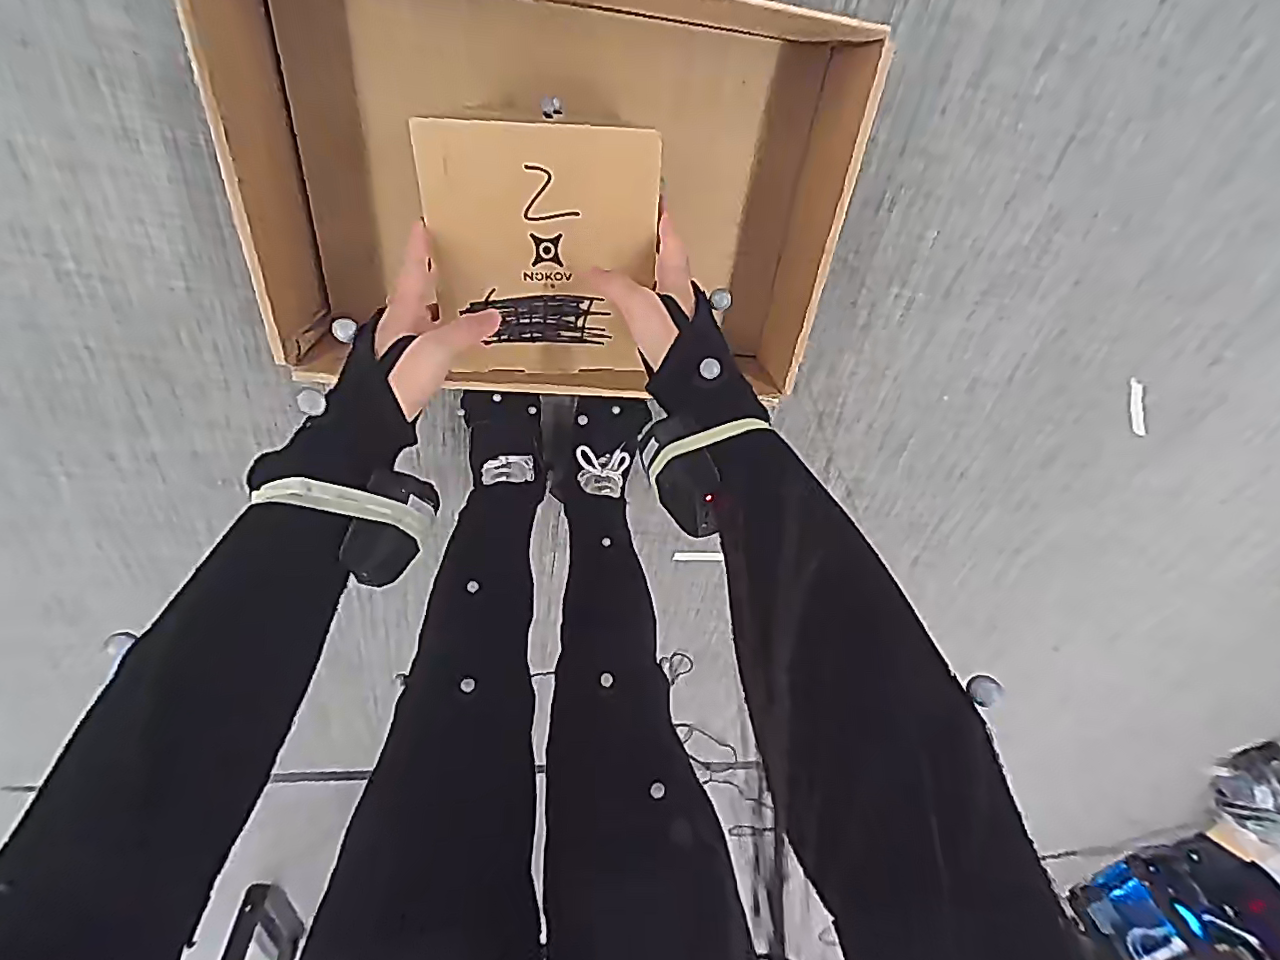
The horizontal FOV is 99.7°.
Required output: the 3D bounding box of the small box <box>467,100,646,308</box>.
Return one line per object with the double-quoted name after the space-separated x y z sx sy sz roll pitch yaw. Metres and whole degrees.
-0.093 -0.307 0.600 0.168 0.176 0.179 0 126 -9 "small box"
